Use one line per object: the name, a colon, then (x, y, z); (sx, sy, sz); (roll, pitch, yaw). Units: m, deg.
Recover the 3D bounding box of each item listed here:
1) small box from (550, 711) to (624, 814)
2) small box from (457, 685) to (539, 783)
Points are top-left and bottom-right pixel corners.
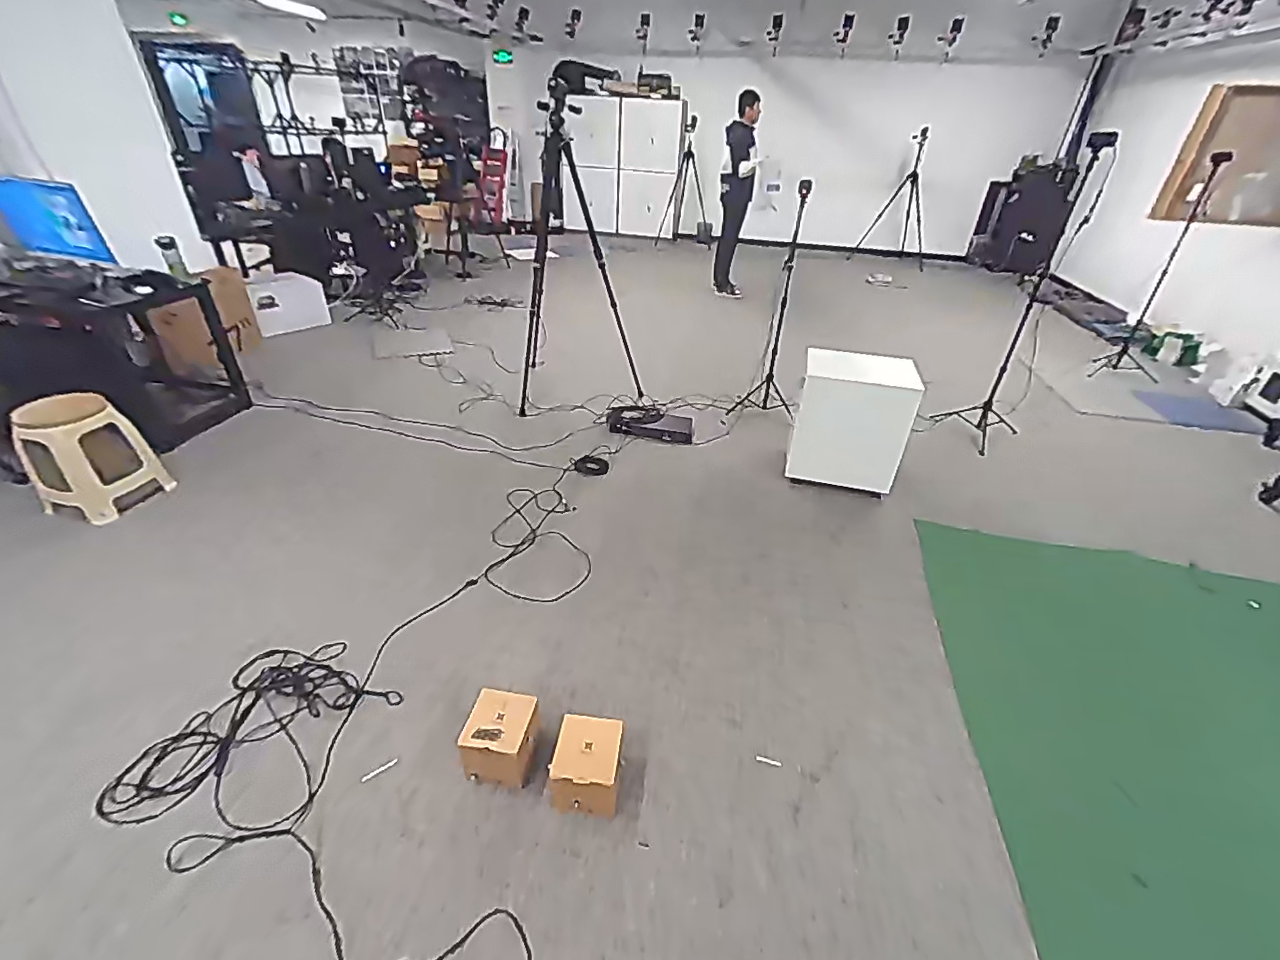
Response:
small box: (-0.138, 0.755, 1.449); (0.168, 0.176, 0.179); (5, 35, 4)
small box: (-0.384, 0.706, 1.501); (0.168, 0.176, 0.179); (7, 33, 6)
